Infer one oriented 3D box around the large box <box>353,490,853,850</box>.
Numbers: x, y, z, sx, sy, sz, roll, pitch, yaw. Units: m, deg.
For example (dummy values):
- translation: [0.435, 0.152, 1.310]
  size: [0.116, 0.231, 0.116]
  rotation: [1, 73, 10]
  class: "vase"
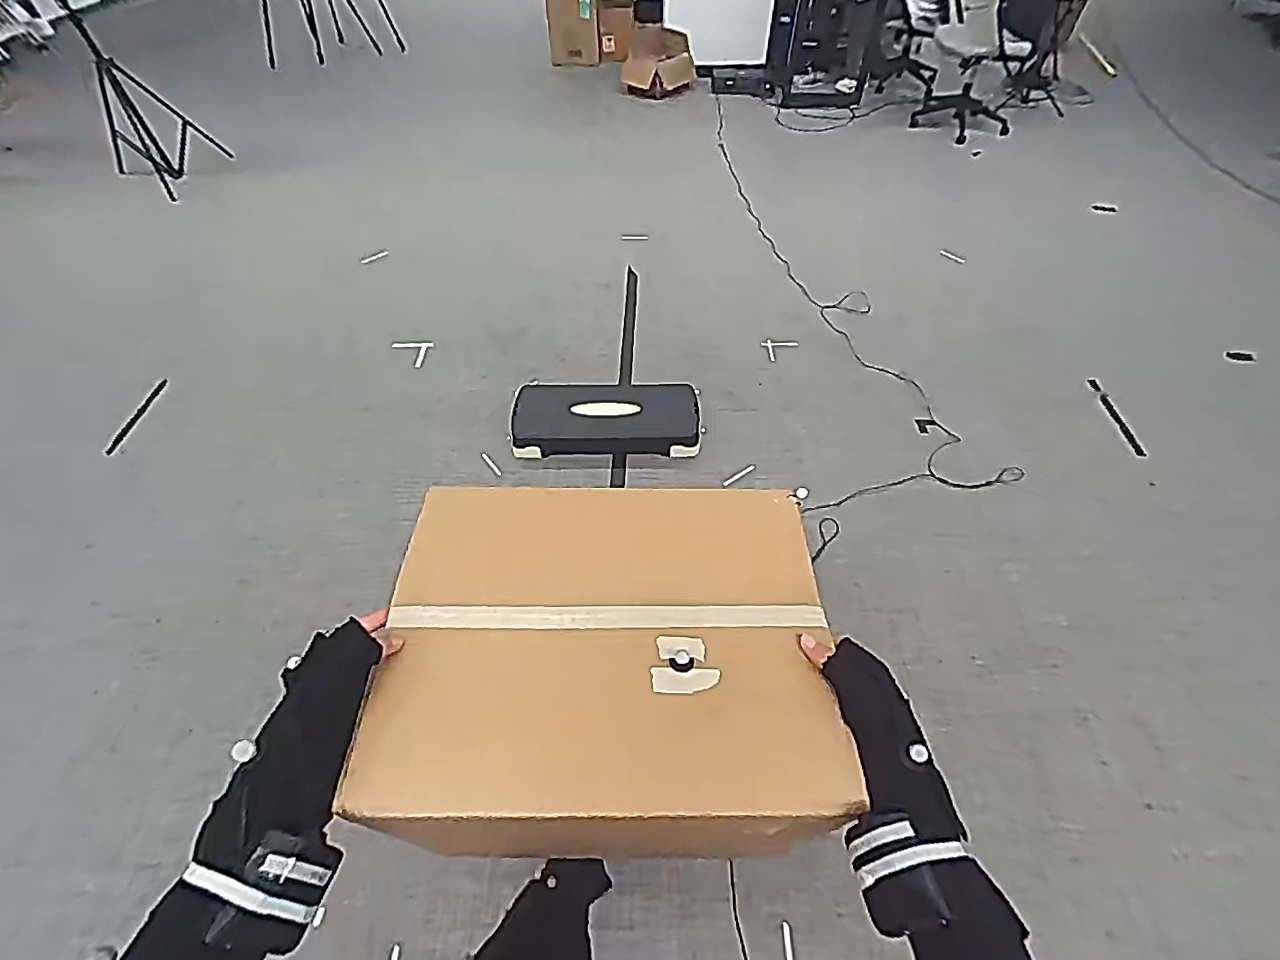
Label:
- translation: [-0.032, 0.224, 0.631]
  size: [0.408, 0.320, 0.320]
  rotation: [1, 50, -1]
  class: "large box"
